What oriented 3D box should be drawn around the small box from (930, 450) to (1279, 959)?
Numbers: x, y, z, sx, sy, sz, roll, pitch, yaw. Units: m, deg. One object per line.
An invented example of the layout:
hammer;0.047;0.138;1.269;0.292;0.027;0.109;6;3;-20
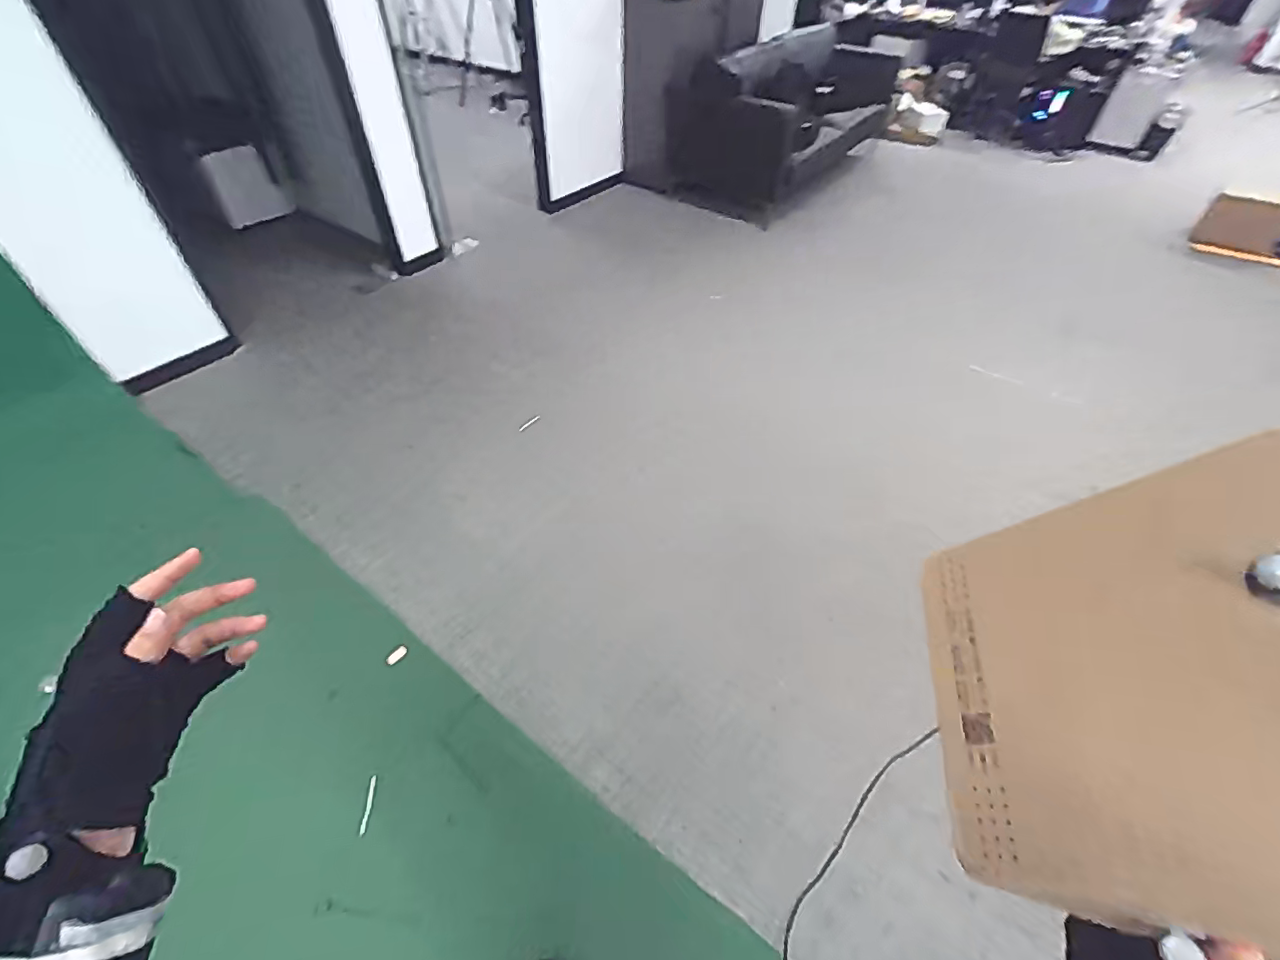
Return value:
small box;0.272;0.118;0.254;0.179;0.176;0.168;29;51;-18
